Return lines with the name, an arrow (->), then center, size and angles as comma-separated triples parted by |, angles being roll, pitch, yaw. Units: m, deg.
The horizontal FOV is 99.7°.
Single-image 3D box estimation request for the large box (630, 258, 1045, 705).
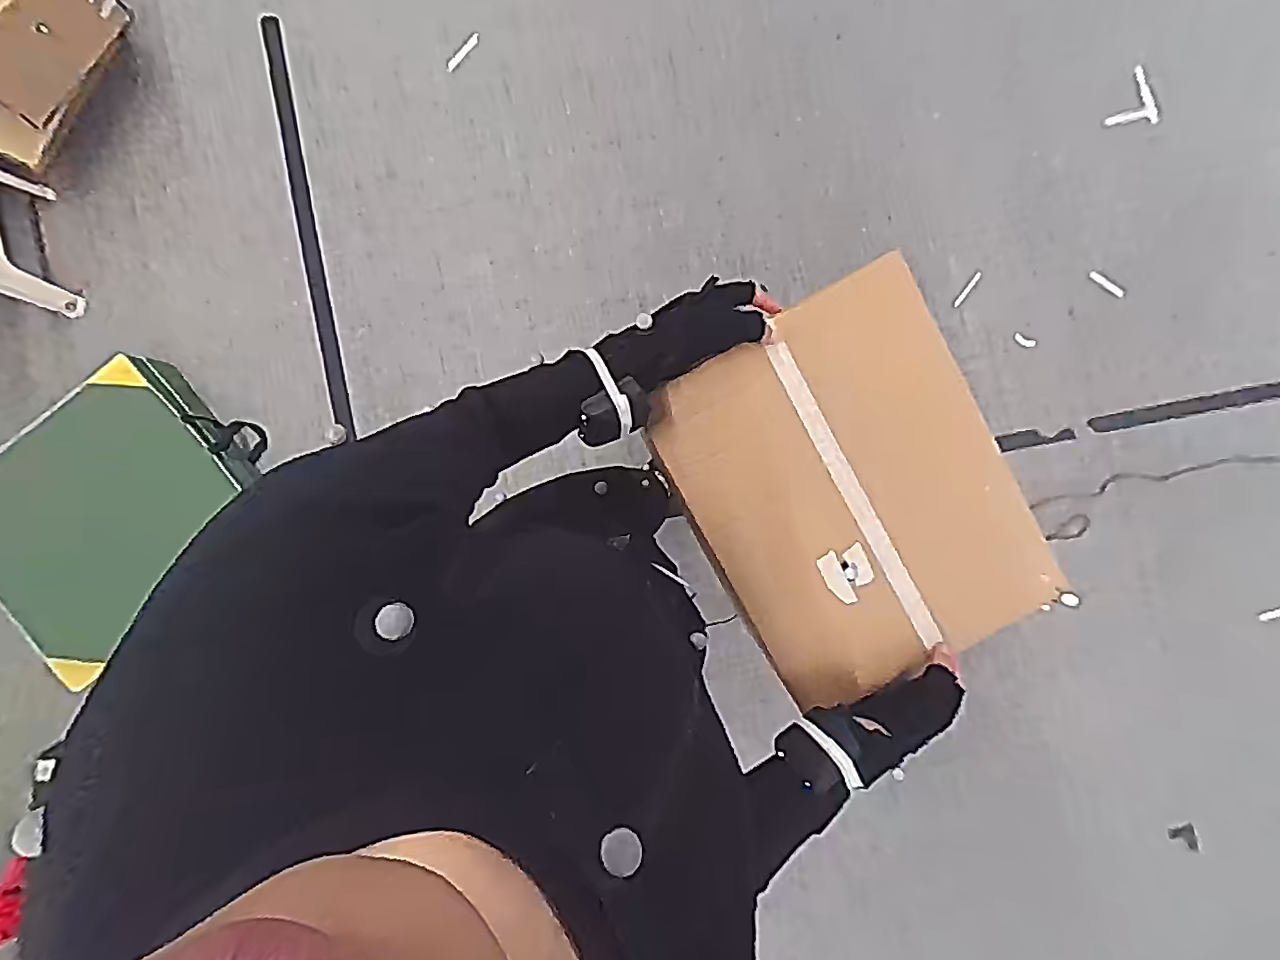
large box -> 0.214, -0.003, 0.731 | 0.320, 0.320, 0.408 | -29, 95, 2
